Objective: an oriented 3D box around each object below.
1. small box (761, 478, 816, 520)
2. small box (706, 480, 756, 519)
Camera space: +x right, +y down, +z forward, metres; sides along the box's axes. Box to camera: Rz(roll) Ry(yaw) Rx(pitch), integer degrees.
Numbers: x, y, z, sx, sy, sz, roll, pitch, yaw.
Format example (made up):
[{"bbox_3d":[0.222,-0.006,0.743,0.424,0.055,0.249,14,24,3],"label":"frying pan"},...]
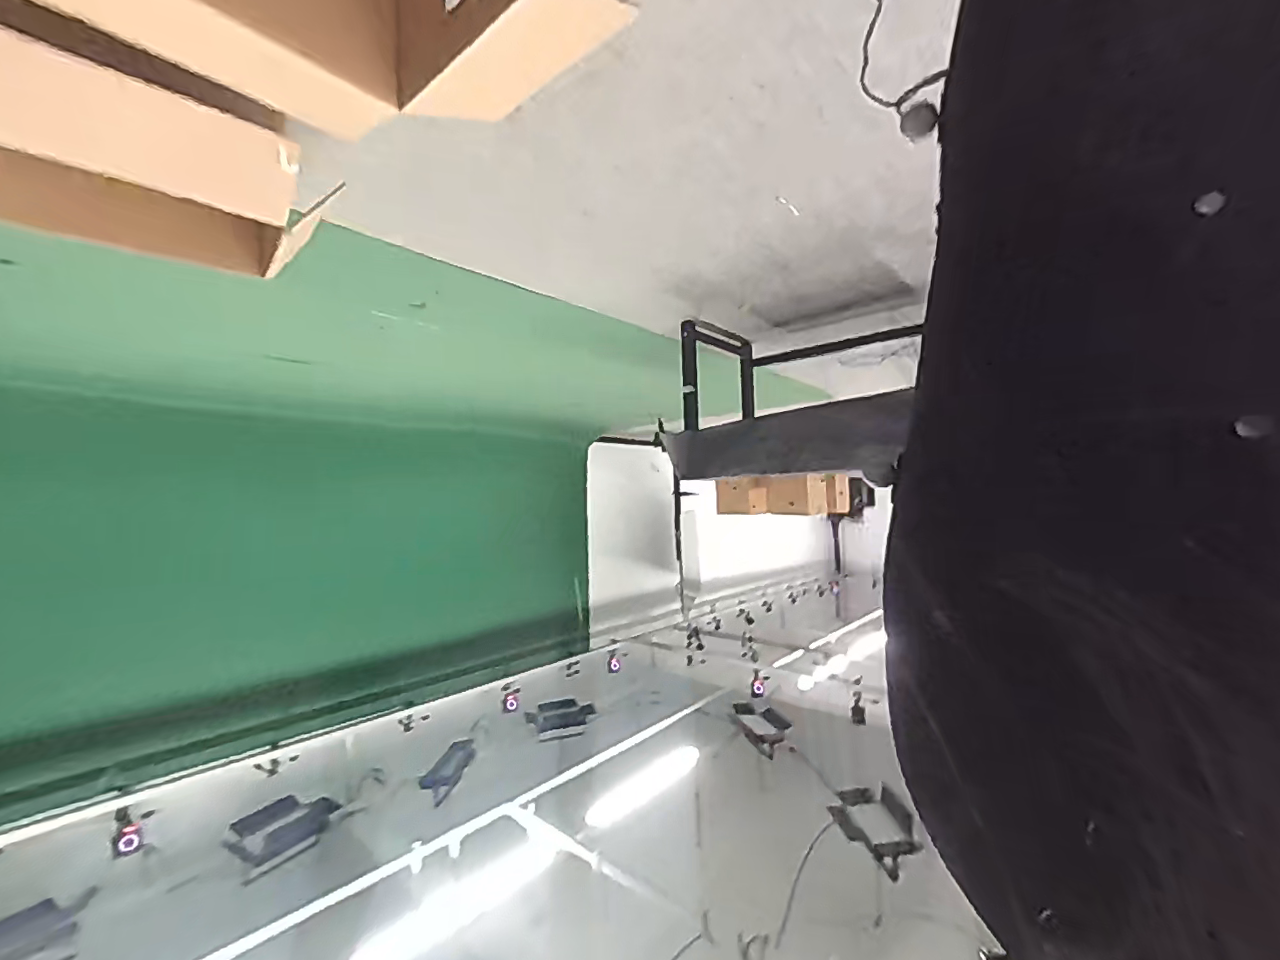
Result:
[{"bbox_3d":[0.619,0.077,2.264,0.179,0.176,0.168,-3,177,43],"label":"small box"},{"bbox_3d":[0.407,0.087,2.417,0.168,0.176,0.179,-4,176,37],"label":"small box"}]
